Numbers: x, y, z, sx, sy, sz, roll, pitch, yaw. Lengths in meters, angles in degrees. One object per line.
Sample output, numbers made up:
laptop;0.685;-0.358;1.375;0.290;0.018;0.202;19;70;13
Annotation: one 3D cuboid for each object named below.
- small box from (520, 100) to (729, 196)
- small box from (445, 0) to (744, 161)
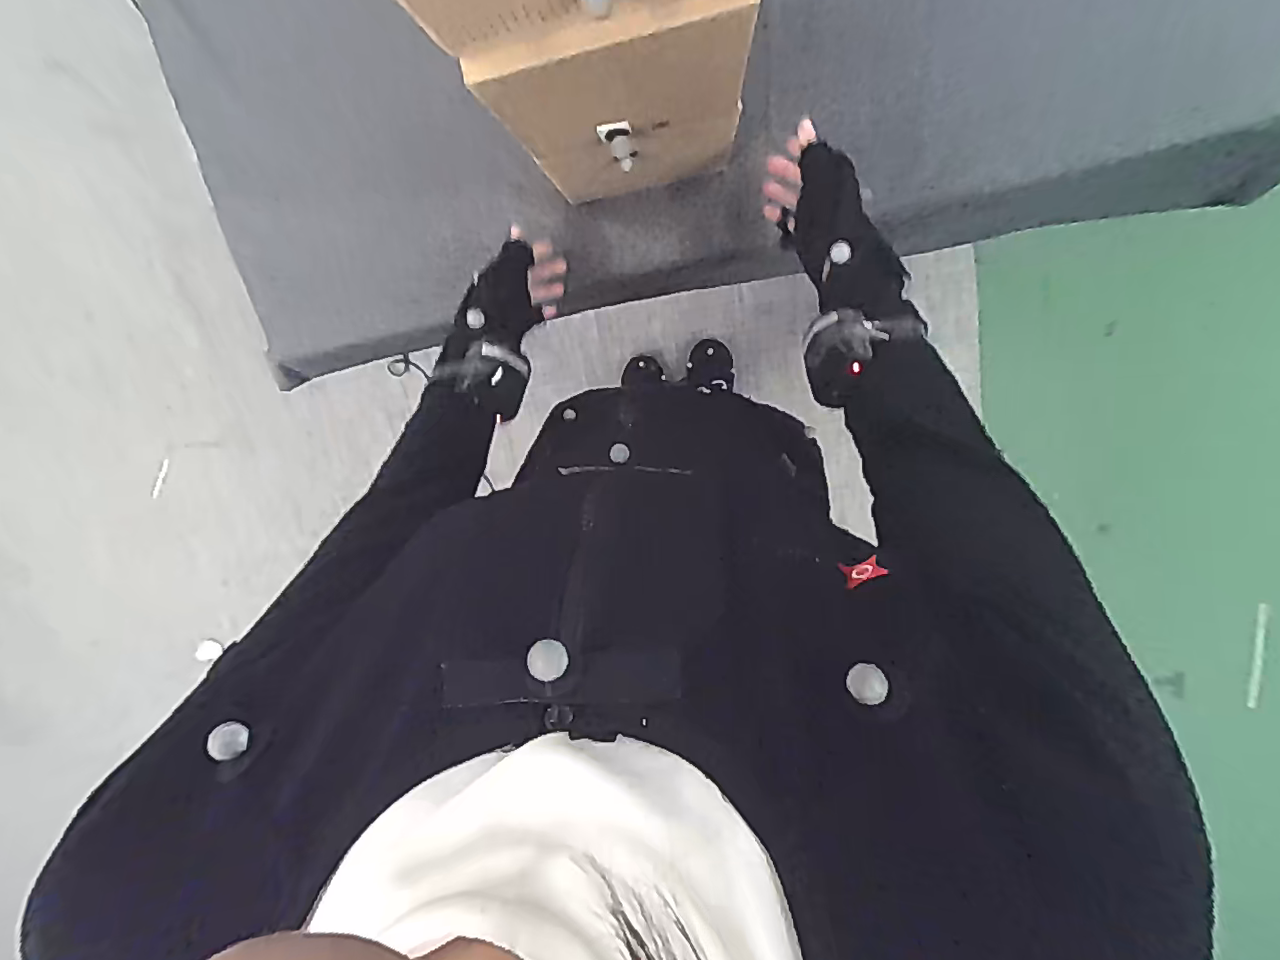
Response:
small box;-0.017;-0.382;0.499;0.179;0.176;0.168;-8;105;8
small box;-0.031;-0.337;0.345;0.168;0.176;0.179;-9;106;9
